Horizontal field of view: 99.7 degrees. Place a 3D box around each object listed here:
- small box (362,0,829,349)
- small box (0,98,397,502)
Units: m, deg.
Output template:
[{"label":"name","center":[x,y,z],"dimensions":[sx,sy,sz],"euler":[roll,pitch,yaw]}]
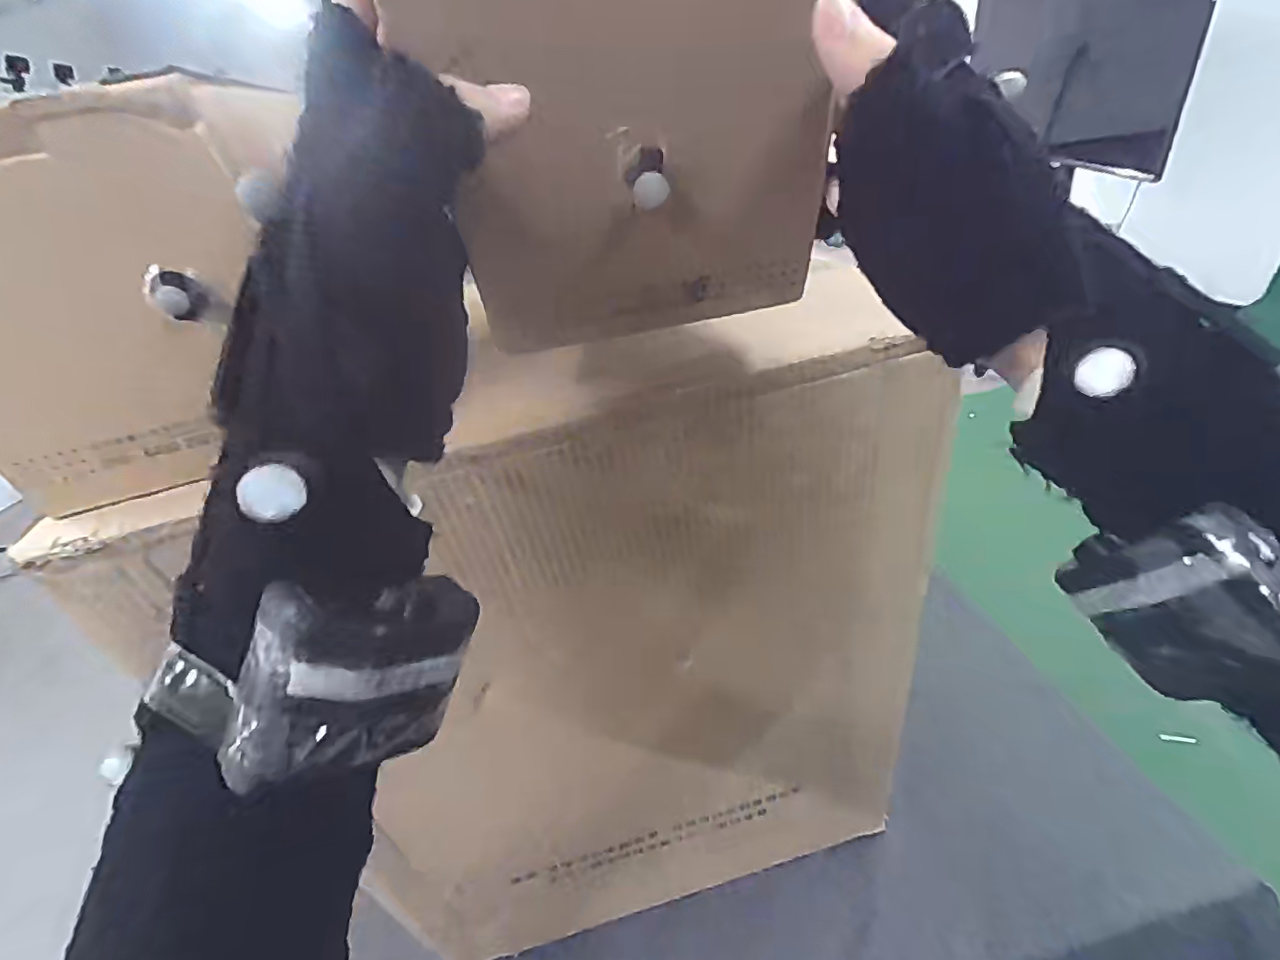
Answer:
[{"label":"small box","center":[-0.016,-0.186,0.282],"dimensions":[0.168,0.176,0.179],"euler":[-12,53,-3]},{"label":"small box","center":[-0.261,-0.104,0.317],"dimensions":[0.168,0.176,0.179],"euler":[-16,34,-8]}]
